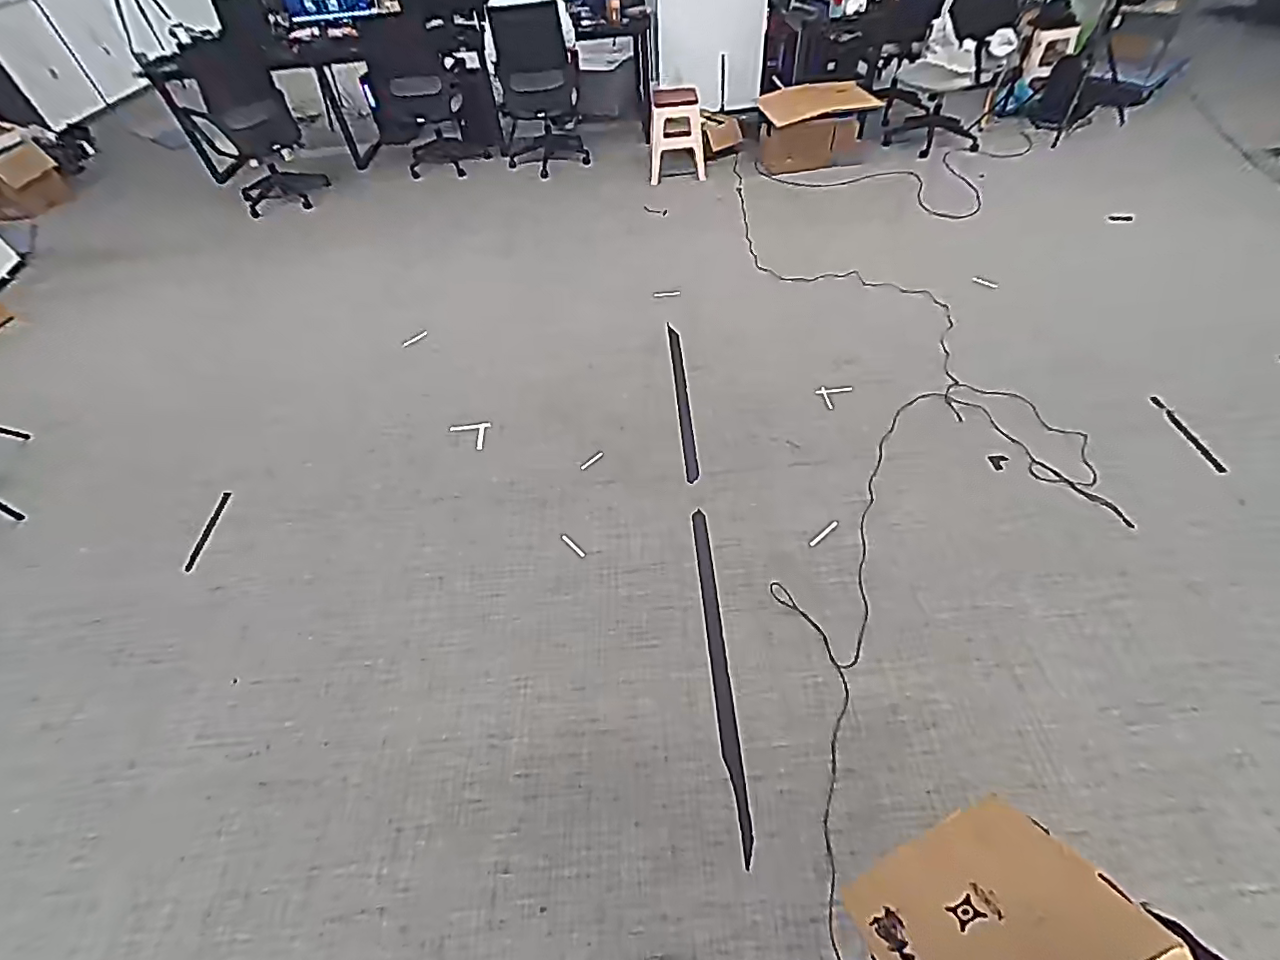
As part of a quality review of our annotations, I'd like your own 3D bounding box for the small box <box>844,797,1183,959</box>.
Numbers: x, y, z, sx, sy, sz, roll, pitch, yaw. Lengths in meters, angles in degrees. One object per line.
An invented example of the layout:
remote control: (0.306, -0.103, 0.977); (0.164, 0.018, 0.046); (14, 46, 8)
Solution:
small box: (0.304, 0.408, 0.428); (0.179, 0.168, 0.176); (-28, 90, -2)
